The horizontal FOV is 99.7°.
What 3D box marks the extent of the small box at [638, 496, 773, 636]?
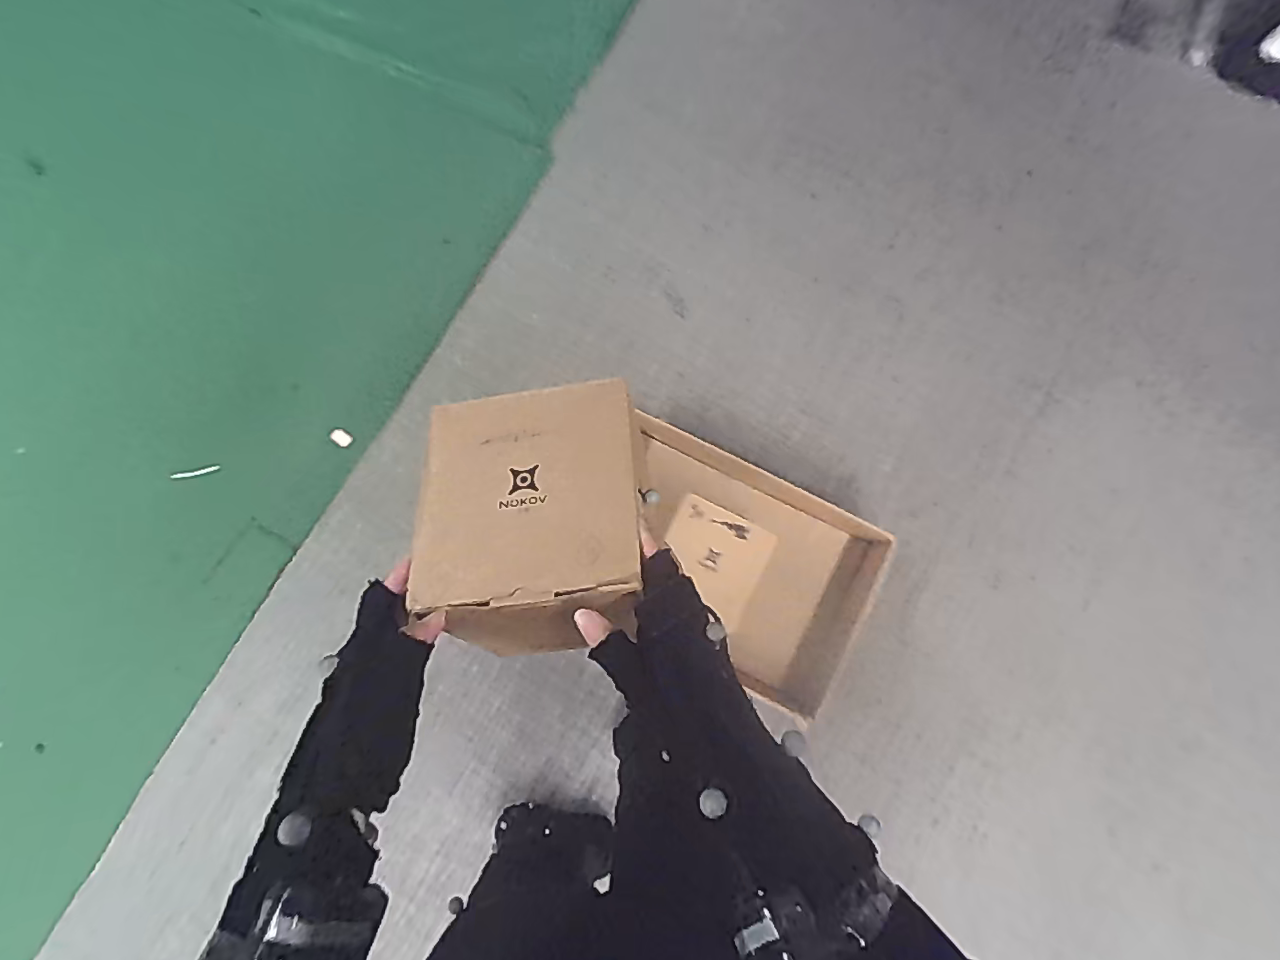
[{"bbox_3d":[0.113,0.150,0.954,0.168,0.176,0.179,27,83,7],"label":"small box"}]
